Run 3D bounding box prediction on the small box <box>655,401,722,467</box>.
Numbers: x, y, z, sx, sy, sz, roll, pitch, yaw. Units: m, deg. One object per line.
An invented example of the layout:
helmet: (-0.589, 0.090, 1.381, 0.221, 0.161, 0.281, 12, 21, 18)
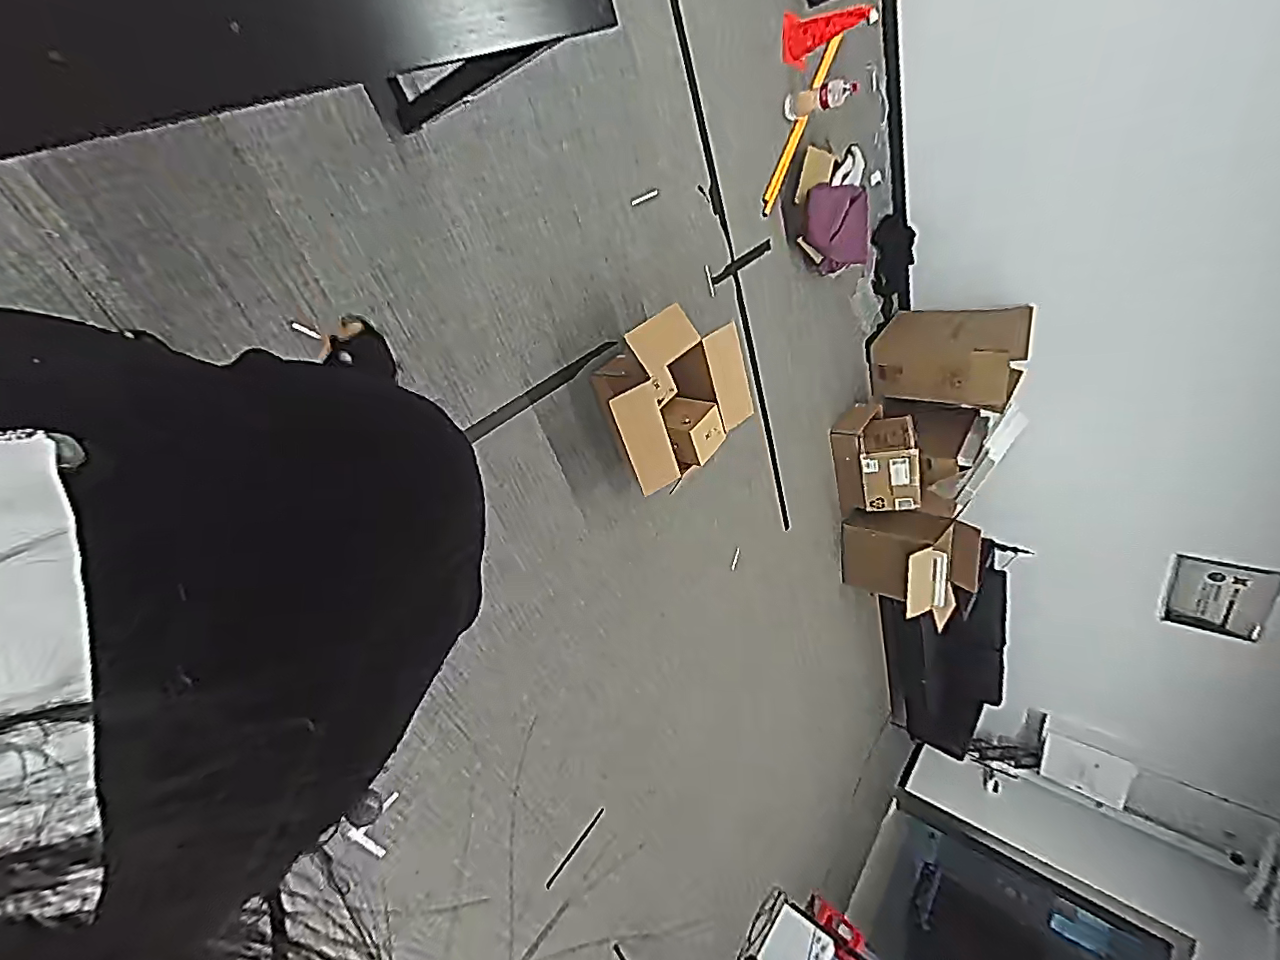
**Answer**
small box: (0.176, -0.177, 2.017, 0.179, 0.176, 0.168, -48, 134, -28)
